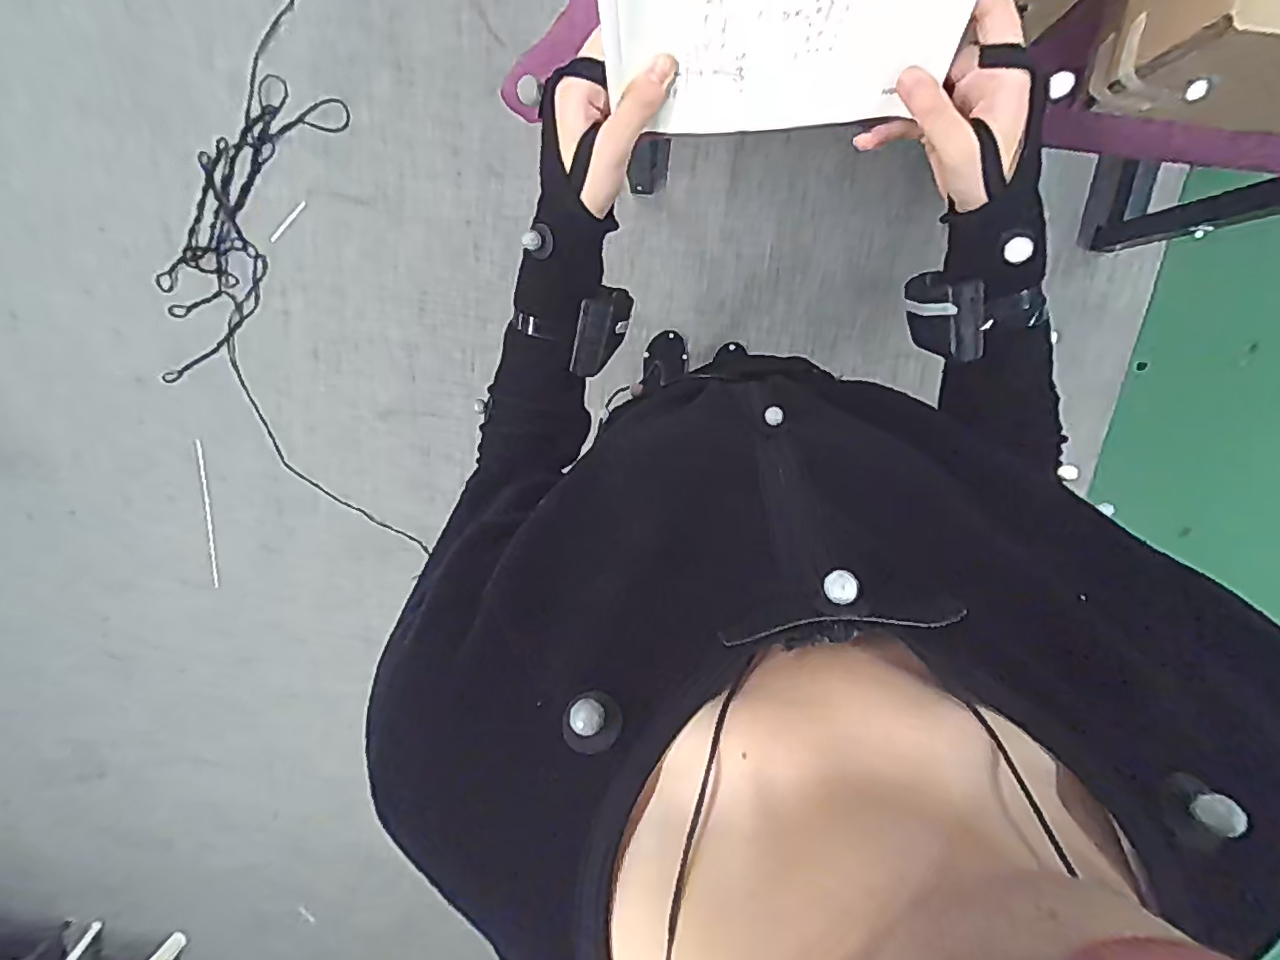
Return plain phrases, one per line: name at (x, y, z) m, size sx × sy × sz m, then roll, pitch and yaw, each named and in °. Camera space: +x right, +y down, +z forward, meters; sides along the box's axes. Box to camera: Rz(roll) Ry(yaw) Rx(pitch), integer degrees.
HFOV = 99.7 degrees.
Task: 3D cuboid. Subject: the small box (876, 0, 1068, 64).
small box at (0.357, -0.561, 0.541) m, size 0.168 × 0.176 × 0.179 m, roll 8°, pitch 102°, yaw 2°
